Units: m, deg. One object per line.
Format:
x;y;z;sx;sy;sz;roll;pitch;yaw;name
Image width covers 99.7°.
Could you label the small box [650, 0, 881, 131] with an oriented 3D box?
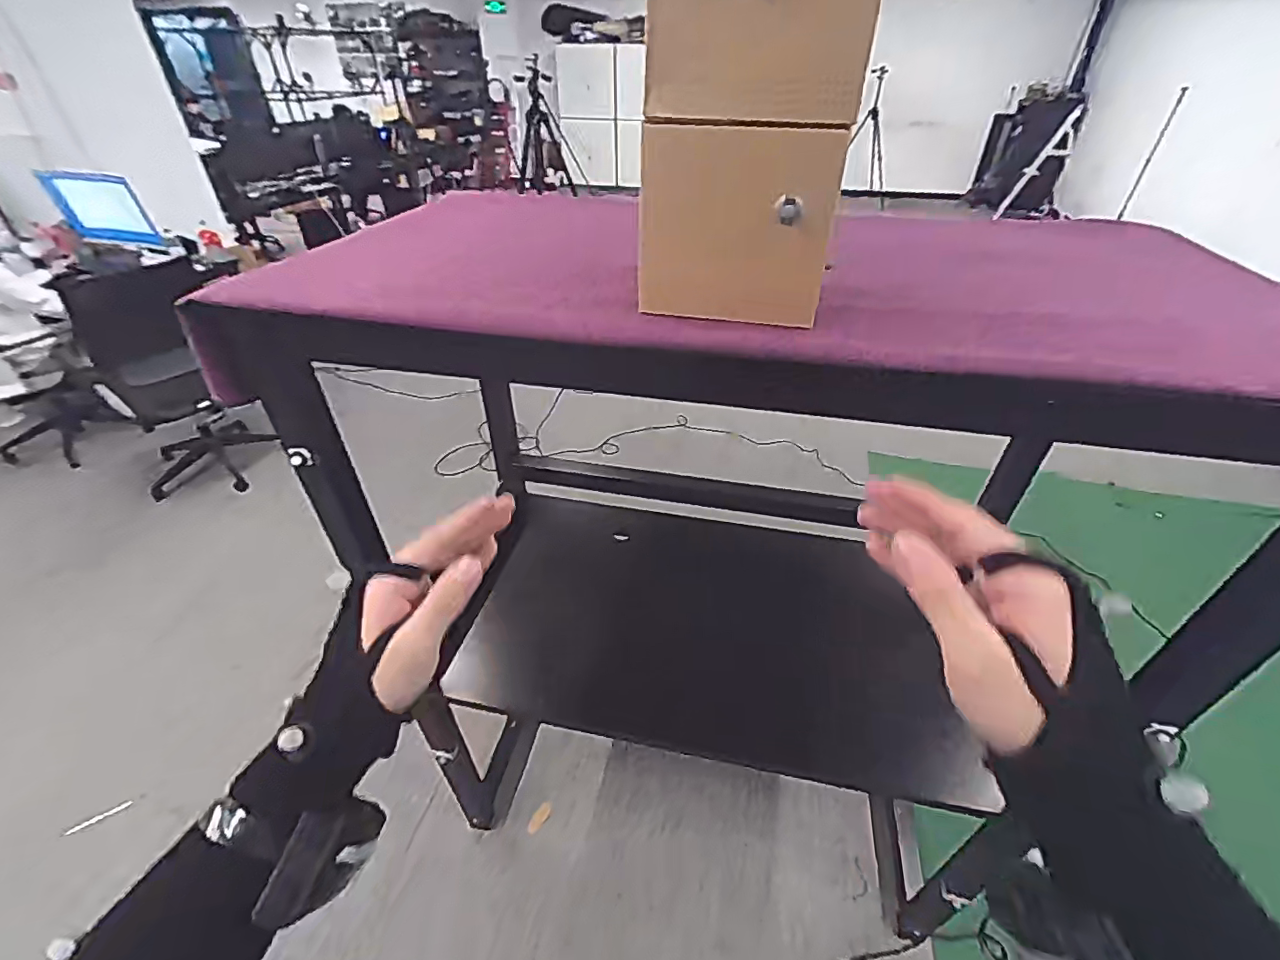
0.108;-0.398;0.457;0.179;0.176;0.168;9;38;12;small box
